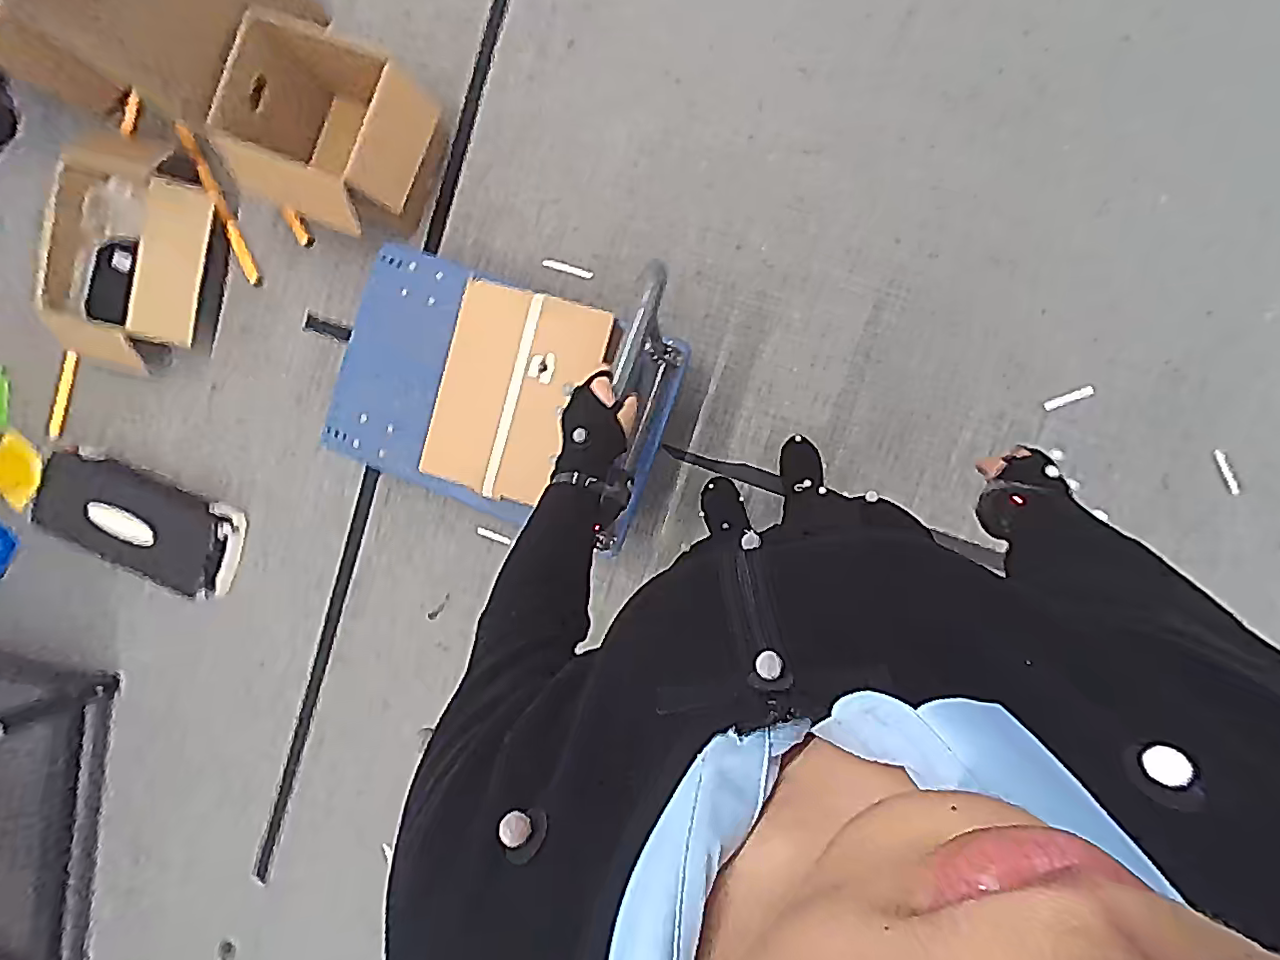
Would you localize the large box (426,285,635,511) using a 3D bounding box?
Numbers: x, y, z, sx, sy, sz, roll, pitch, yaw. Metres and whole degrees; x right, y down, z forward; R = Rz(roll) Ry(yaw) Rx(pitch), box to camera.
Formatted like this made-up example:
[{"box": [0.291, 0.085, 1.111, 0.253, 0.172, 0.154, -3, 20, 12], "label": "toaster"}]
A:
[{"box": [-0.225, -0.164, 1.225, 0.320, 0.320, 0.408, 16, 92, 7], "label": "large box"}]
